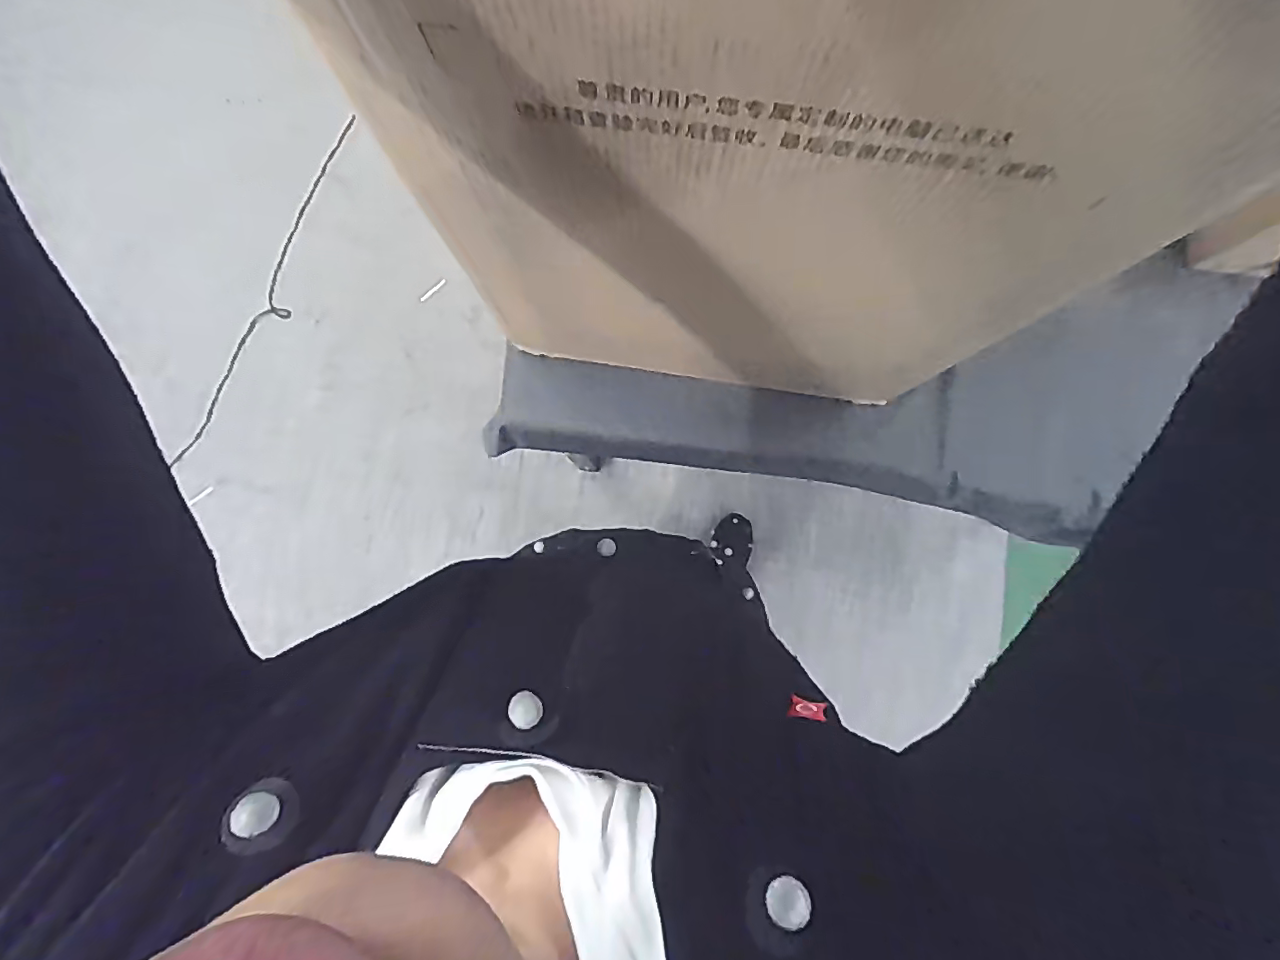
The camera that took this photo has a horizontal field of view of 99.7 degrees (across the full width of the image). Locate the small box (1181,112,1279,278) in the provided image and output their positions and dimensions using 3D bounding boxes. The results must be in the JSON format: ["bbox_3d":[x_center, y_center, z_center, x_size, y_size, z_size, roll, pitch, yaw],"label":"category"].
[{"bbox_3d":[0.884,-0.385,0.710,0.179,0.176,0.168,8,85,1],"label":"small box"}]
